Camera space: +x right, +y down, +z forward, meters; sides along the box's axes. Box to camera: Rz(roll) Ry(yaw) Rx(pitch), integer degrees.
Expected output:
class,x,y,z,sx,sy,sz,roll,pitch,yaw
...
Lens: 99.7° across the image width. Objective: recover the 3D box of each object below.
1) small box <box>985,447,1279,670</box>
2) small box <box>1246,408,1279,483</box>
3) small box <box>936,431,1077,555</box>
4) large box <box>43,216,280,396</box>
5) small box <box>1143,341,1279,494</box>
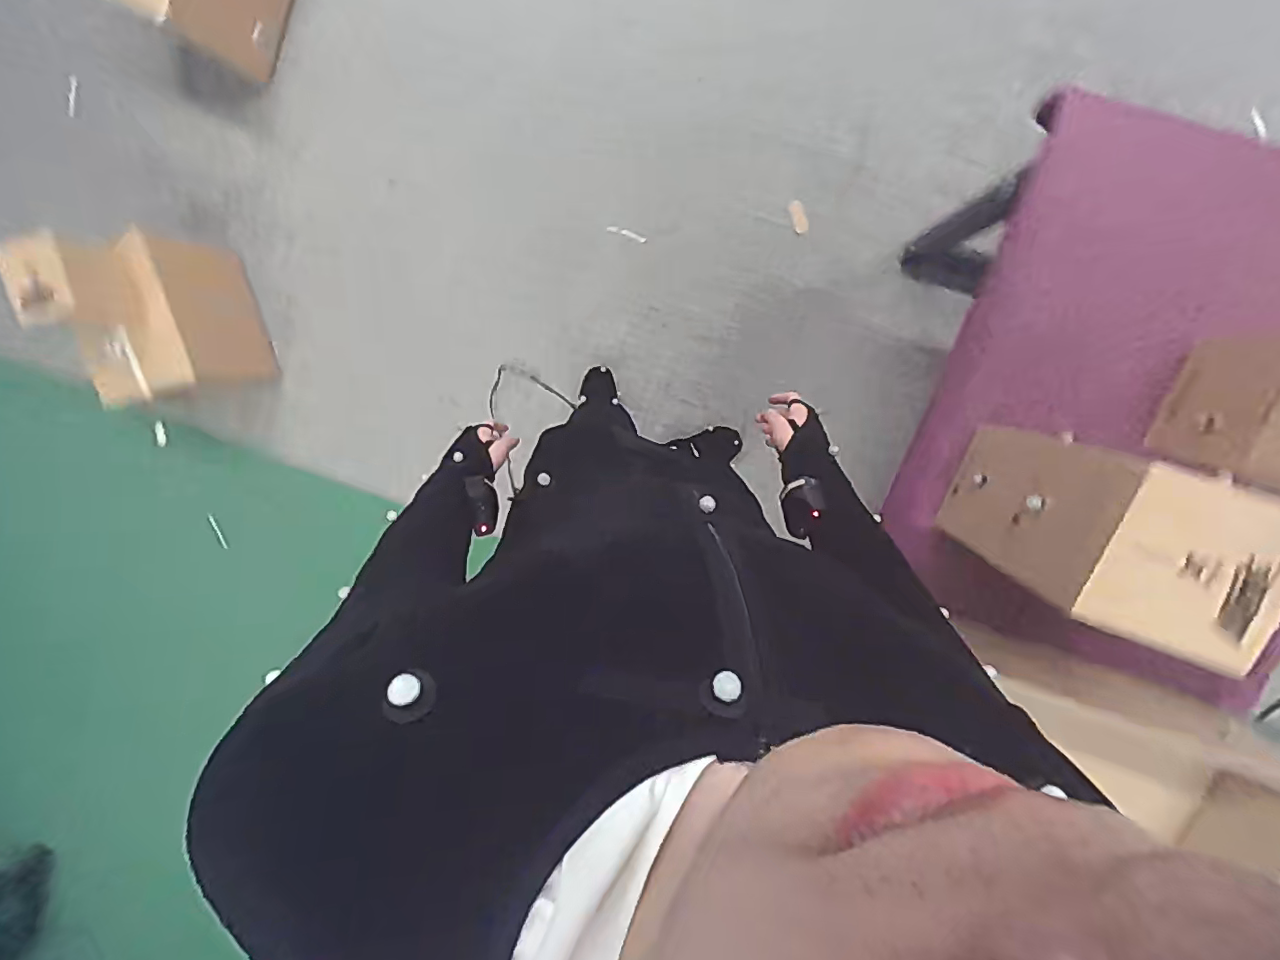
class,x,y,z,sx,sy,sz,roll,pitch,yaw
small box,0.539,0.072,0.601,0.179,0.176,0.168,20,103,2
small box,0.810,-0.045,0.549,0.179,0.176,0.168,19,104,2
small box,0.558,0.037,0.760,0.179,0.176,0.168,20,104,2
large box,-1.357,-0.484,1.575,0.320,0.320,0.408,-13,101,11
small box,0.834,-0.075,0.706,0.179,0.176,0.168,19,104,3
